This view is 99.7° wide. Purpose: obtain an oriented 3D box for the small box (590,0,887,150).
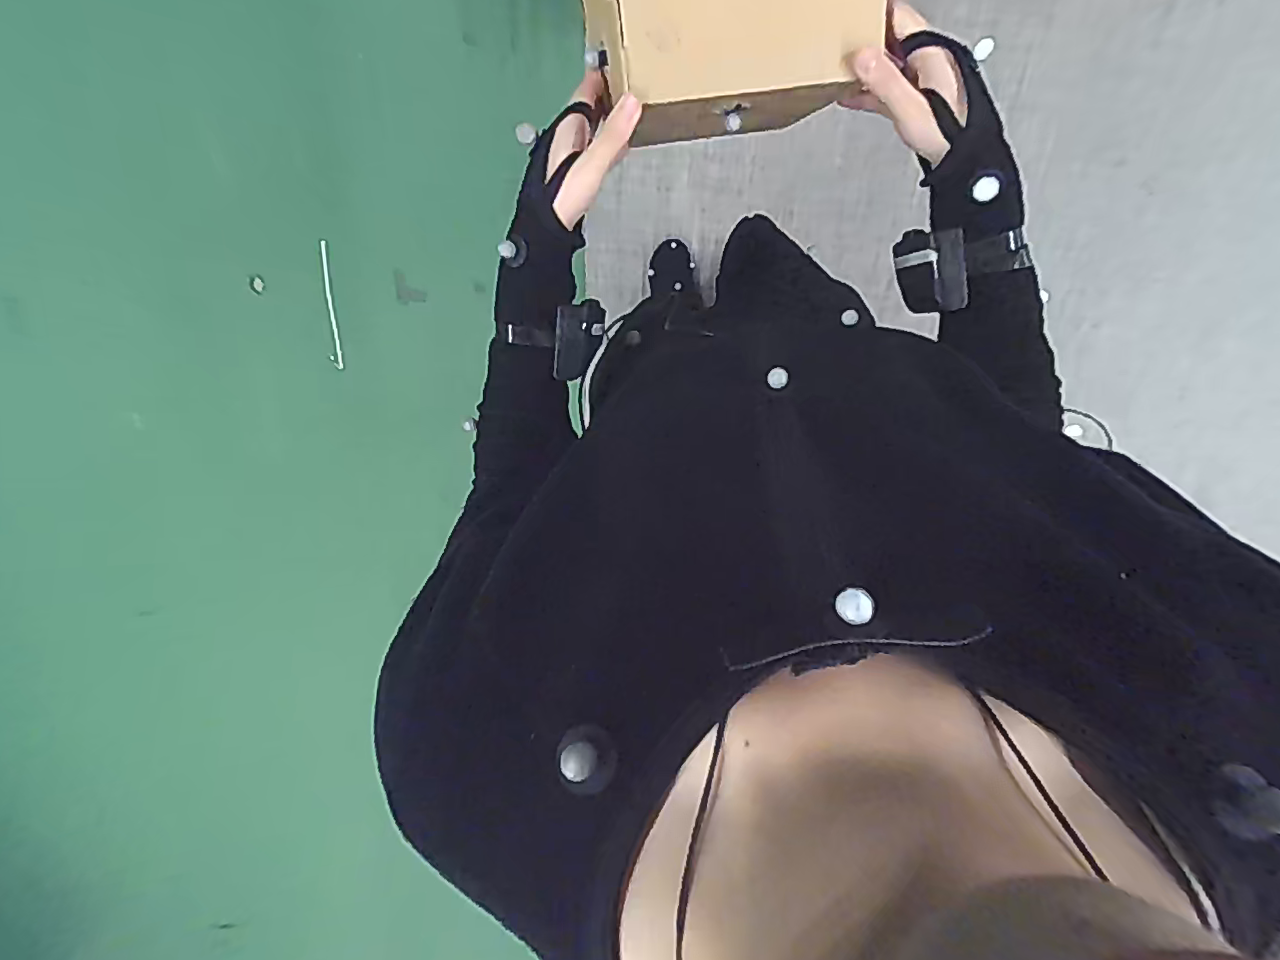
[{"bbox_3d":[0.055,-0.356,0.394,0.179,0.176,0.168,-10,113,-5],"label":"small box"}]
